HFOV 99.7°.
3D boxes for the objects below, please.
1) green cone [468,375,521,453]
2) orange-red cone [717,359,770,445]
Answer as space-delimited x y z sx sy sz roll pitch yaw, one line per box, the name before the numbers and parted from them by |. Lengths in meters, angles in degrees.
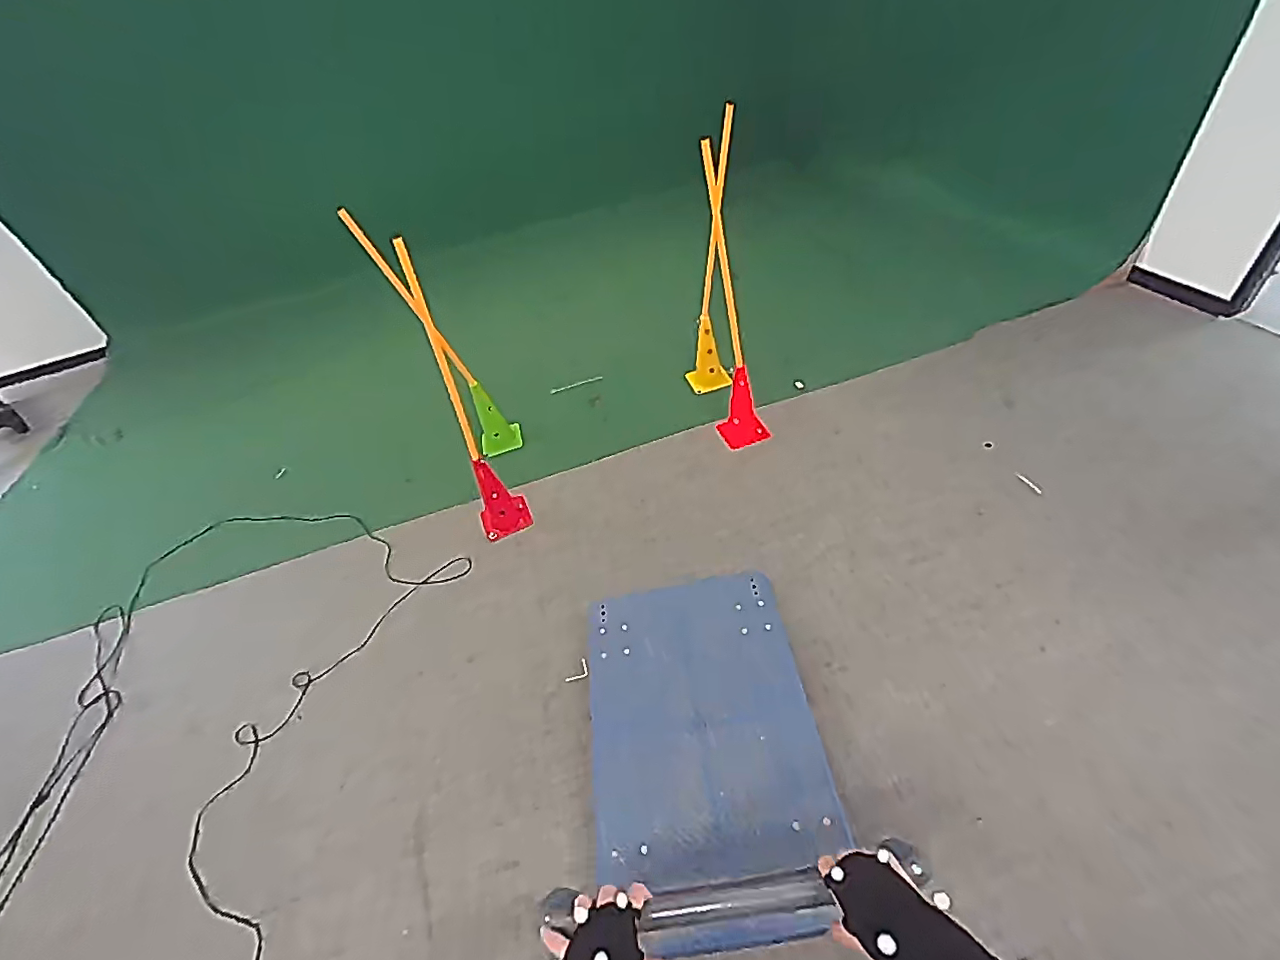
green cone | -0.728 -0.339 2.577 0.200 0.368 0.202 -19 43 -4
orange-red cone | 0.435 -0.357 2.326 0.198 0.360 0.199 -17 43 -5
